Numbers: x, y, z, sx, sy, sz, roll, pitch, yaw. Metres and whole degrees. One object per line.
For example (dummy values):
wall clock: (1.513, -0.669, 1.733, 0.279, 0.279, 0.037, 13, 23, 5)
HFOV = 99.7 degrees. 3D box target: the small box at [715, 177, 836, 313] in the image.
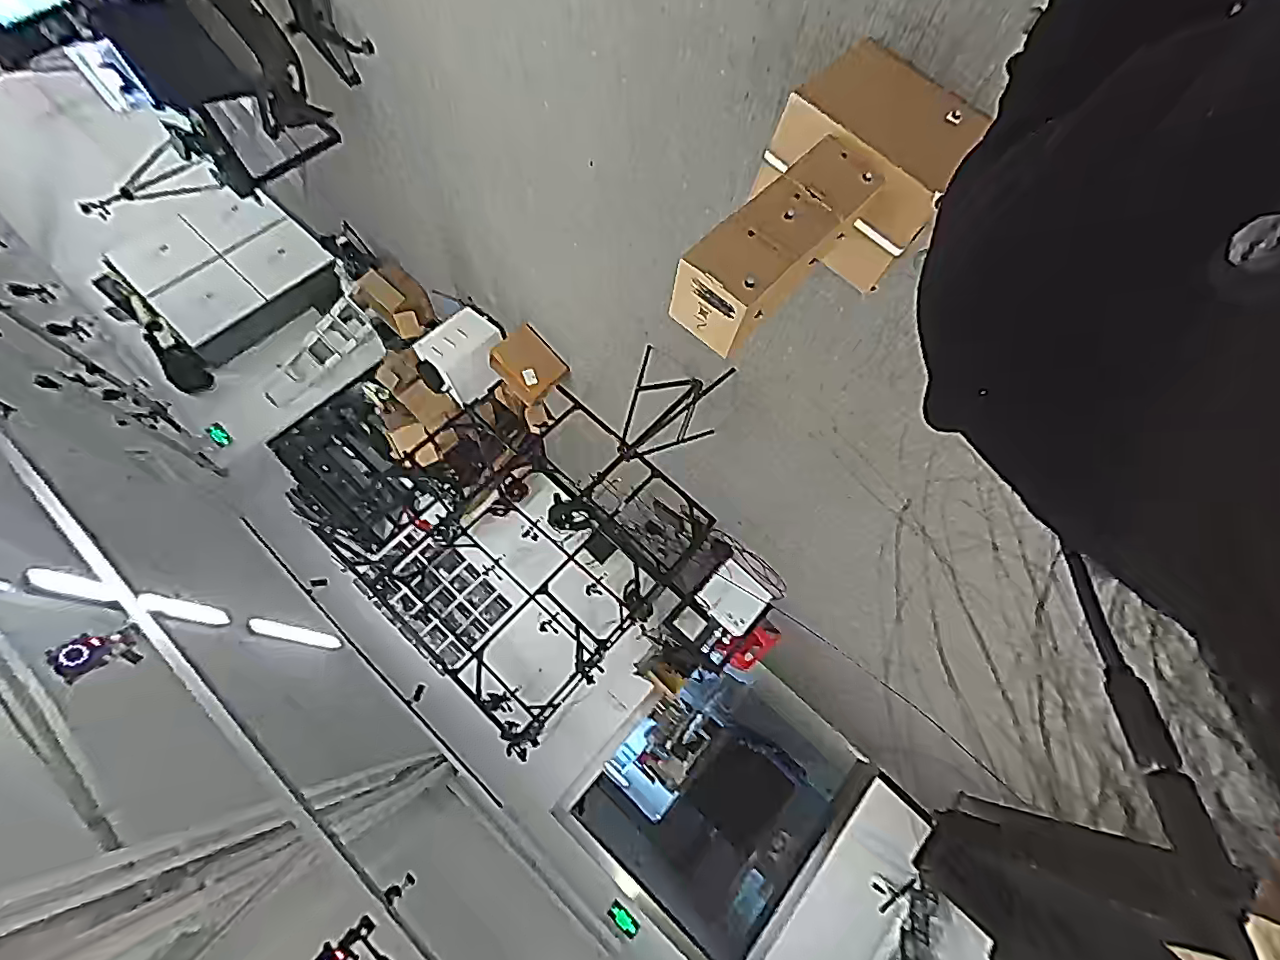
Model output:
small box: (0.296, -0.511, 1.175, 0.168, 0.176, 0.179, 43, 160, 8)

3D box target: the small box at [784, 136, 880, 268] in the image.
small box: (0.407, -0.624, 1.218, 0.168, 0.176, 0.179, 43, 162, 5)
